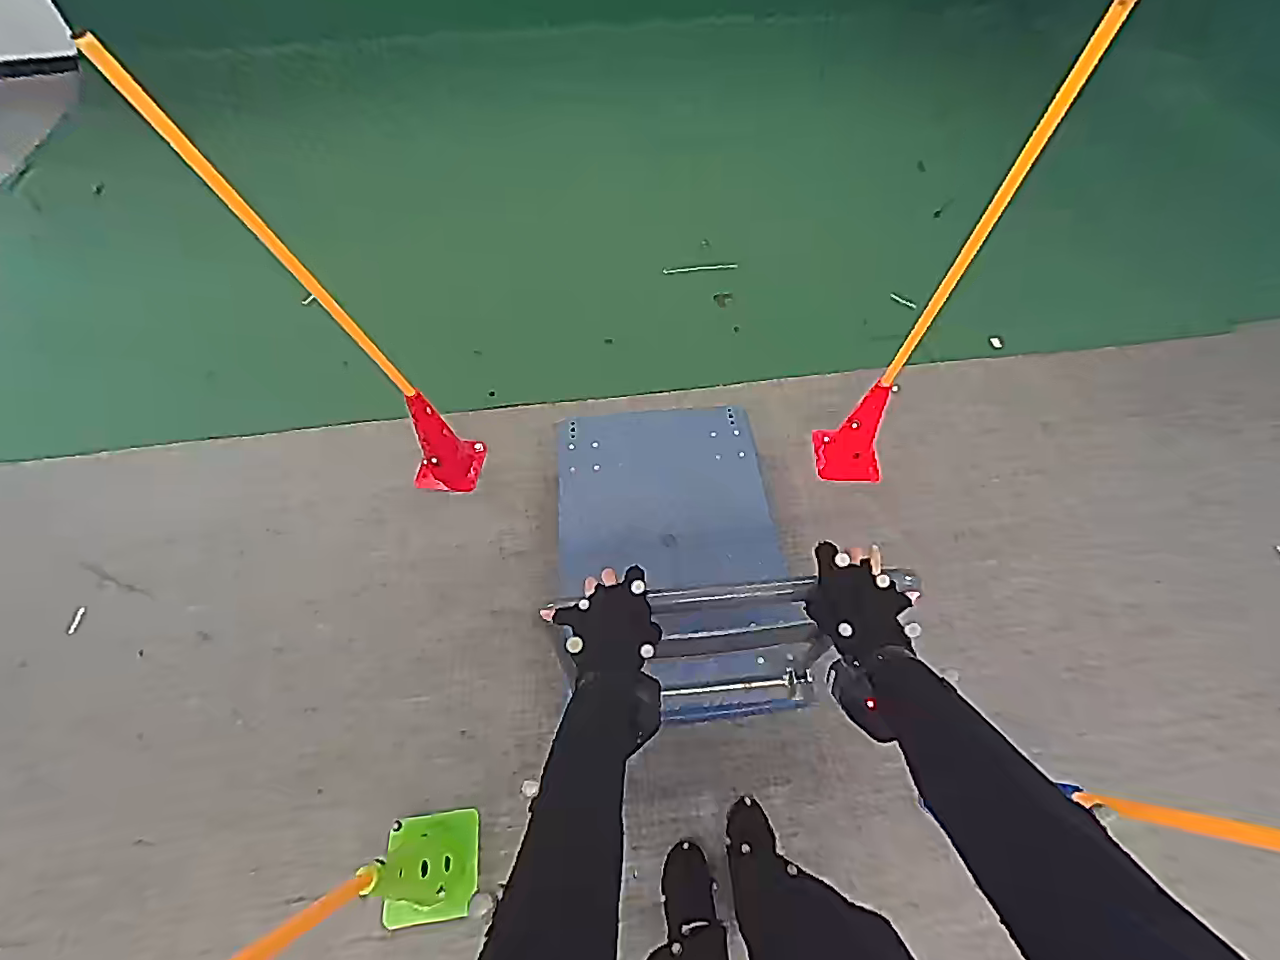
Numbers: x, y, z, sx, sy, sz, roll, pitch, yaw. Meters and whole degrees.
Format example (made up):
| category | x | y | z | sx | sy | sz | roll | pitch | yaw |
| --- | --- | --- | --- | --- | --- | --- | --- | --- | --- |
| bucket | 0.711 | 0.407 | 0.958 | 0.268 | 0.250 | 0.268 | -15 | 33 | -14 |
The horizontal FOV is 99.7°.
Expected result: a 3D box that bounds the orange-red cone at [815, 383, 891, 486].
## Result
| category | x | y | z | sx | sy | sz | roll | pitch | yaw |
| --- | --- | --- | --- | --- | --- | --- | --- | --- | --- |
| orange-red cone | 0.675 | -0.158 | 1.626 | 0.198 | 0.360 | 0.199 | 3 | 58 | 4 |
